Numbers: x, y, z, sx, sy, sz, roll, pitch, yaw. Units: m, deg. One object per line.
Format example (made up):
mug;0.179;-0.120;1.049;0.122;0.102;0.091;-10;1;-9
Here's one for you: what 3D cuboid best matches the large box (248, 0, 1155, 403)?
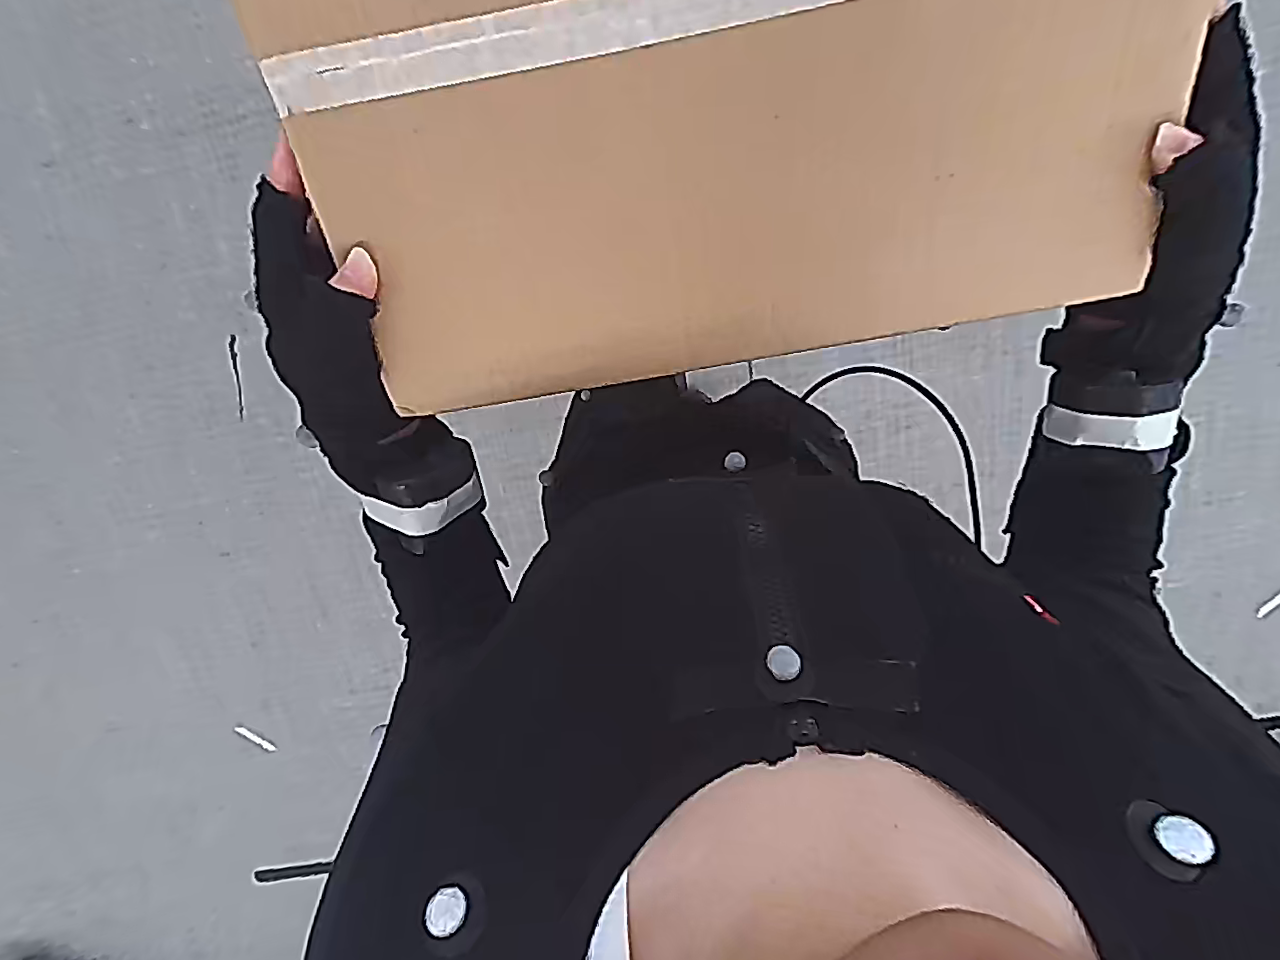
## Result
large box;0.028;-0.279;0.370;0.408;0.320;0.320;-9;115;3
